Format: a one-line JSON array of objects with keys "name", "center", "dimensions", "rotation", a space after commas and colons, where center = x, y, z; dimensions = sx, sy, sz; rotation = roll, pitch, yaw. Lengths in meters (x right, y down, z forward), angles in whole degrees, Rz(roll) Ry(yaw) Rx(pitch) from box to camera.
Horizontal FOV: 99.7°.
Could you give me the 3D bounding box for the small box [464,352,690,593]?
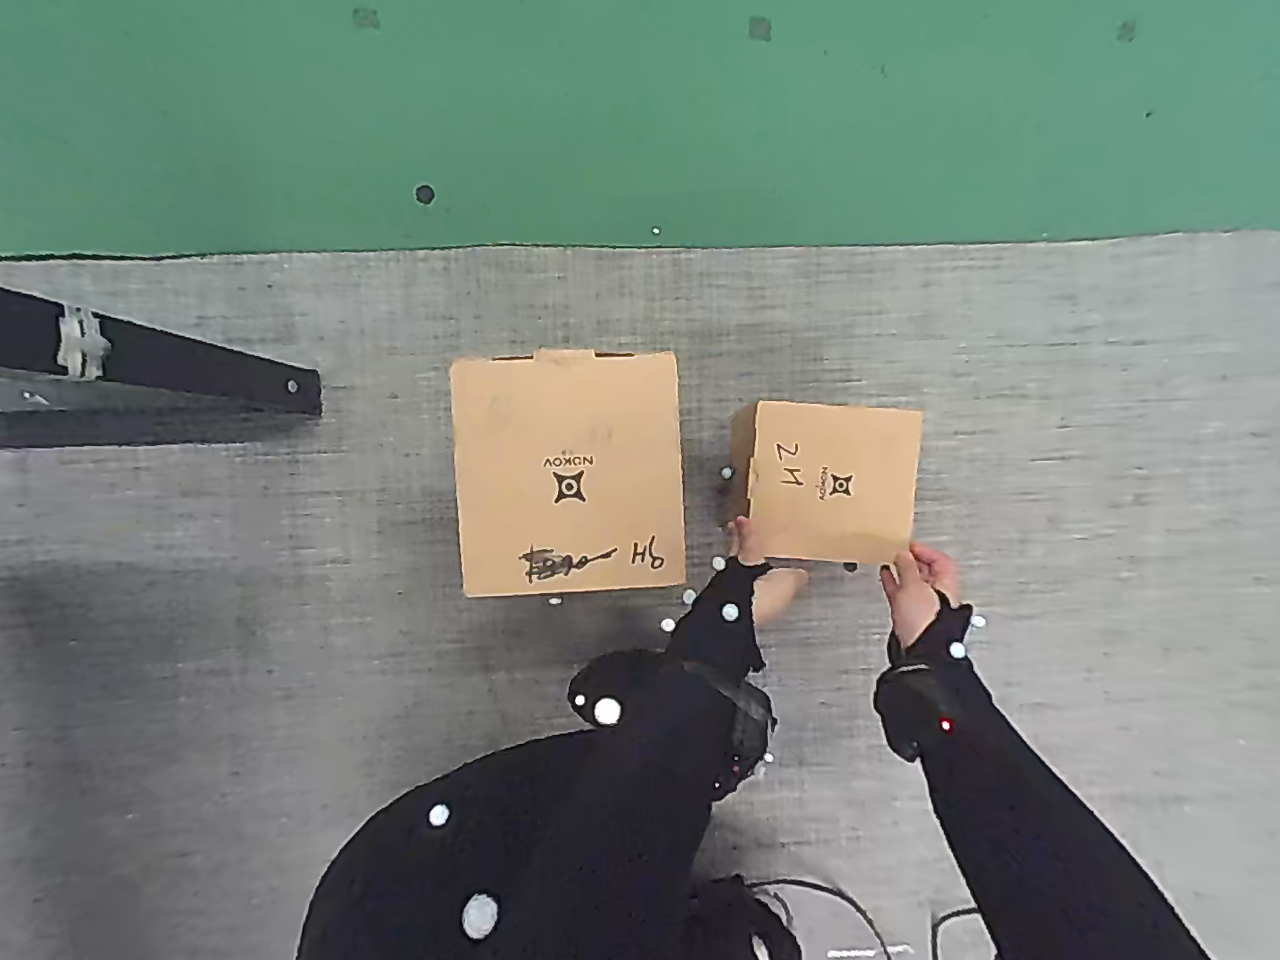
[{"name": "small box", "center": [-0.051, -0.008, 0.474], "dimensions": [0.168, 0.176, 0.179], "rotation": [-1, 92, -4]}]
